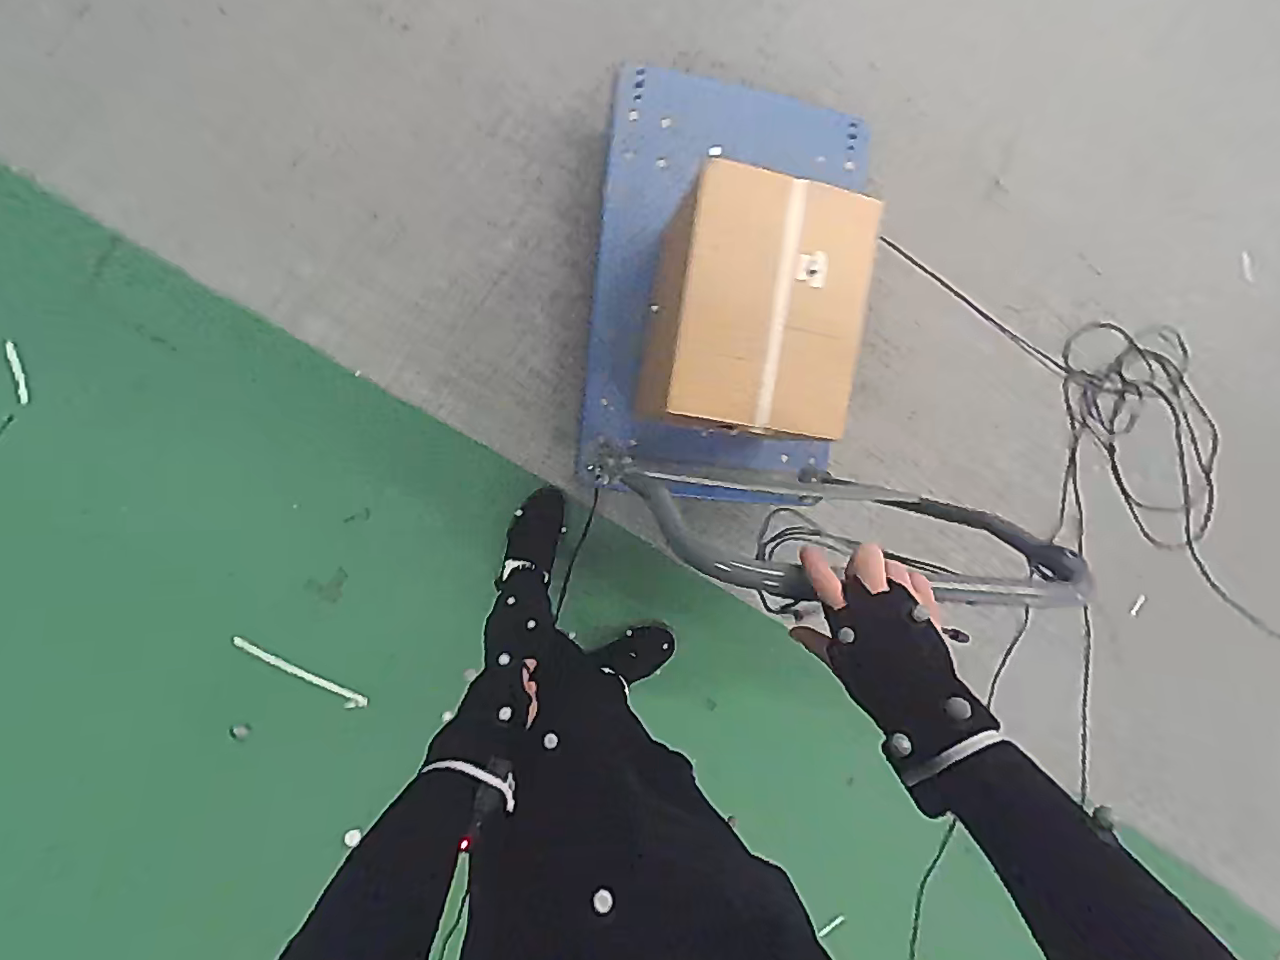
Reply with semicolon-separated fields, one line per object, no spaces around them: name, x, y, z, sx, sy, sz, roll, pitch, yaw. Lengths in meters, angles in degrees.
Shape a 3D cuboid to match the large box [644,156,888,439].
large box;0.205;-0.292;1.009;0.320;0.320;0.408;8;93;-12
